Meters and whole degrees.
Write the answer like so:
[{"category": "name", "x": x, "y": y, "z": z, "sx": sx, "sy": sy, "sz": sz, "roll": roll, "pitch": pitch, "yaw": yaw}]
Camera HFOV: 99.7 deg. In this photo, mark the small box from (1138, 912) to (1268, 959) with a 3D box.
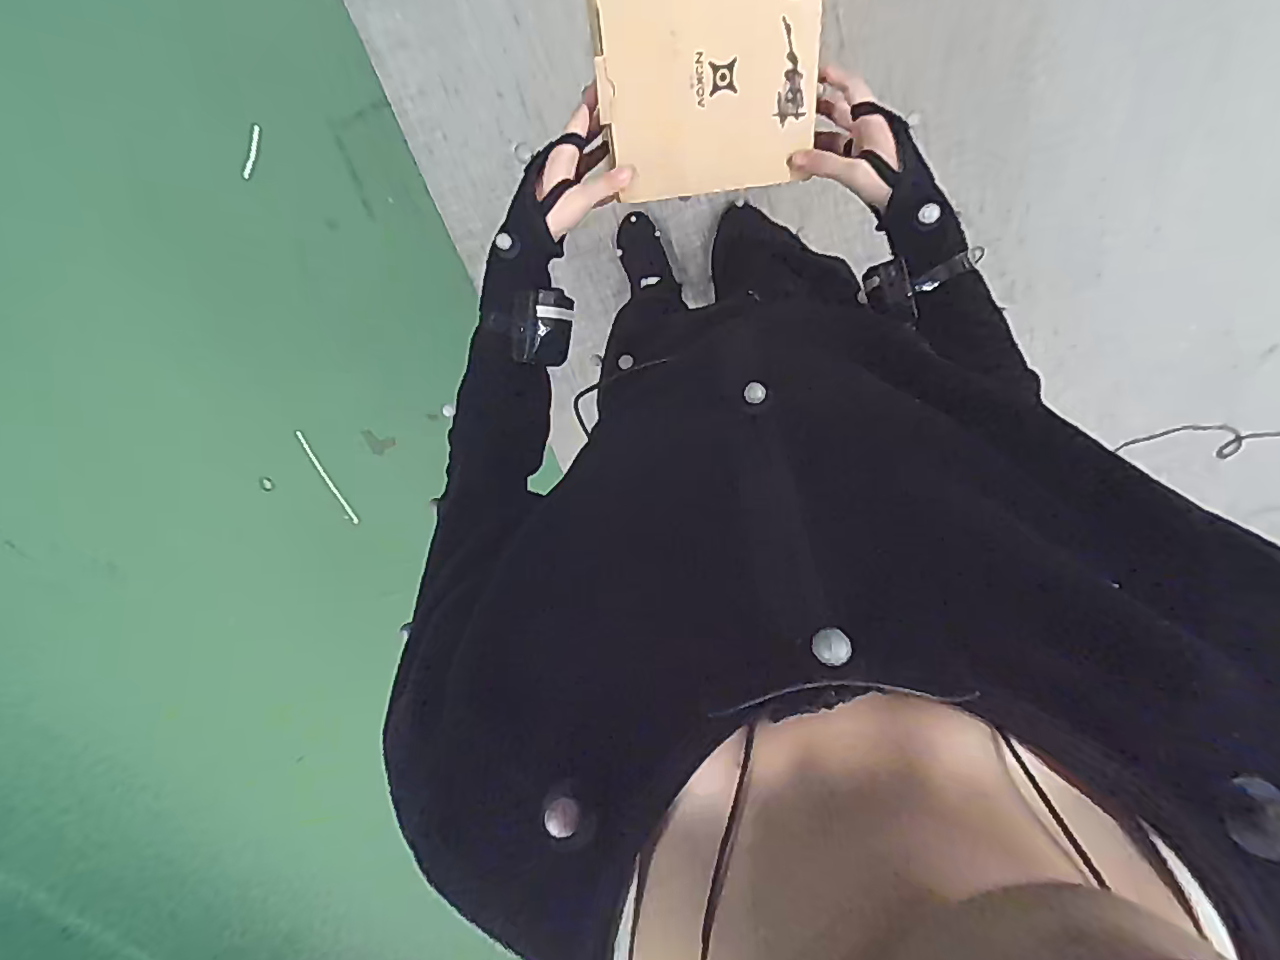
[{"category": "small box", "x": 1.079, "y": 0.949, "z": 1.004, "sx": 0.168, "sy": 0.176, "sz": 0.179, "roll": -20, "pitch": 116, "yaw": 8}]
